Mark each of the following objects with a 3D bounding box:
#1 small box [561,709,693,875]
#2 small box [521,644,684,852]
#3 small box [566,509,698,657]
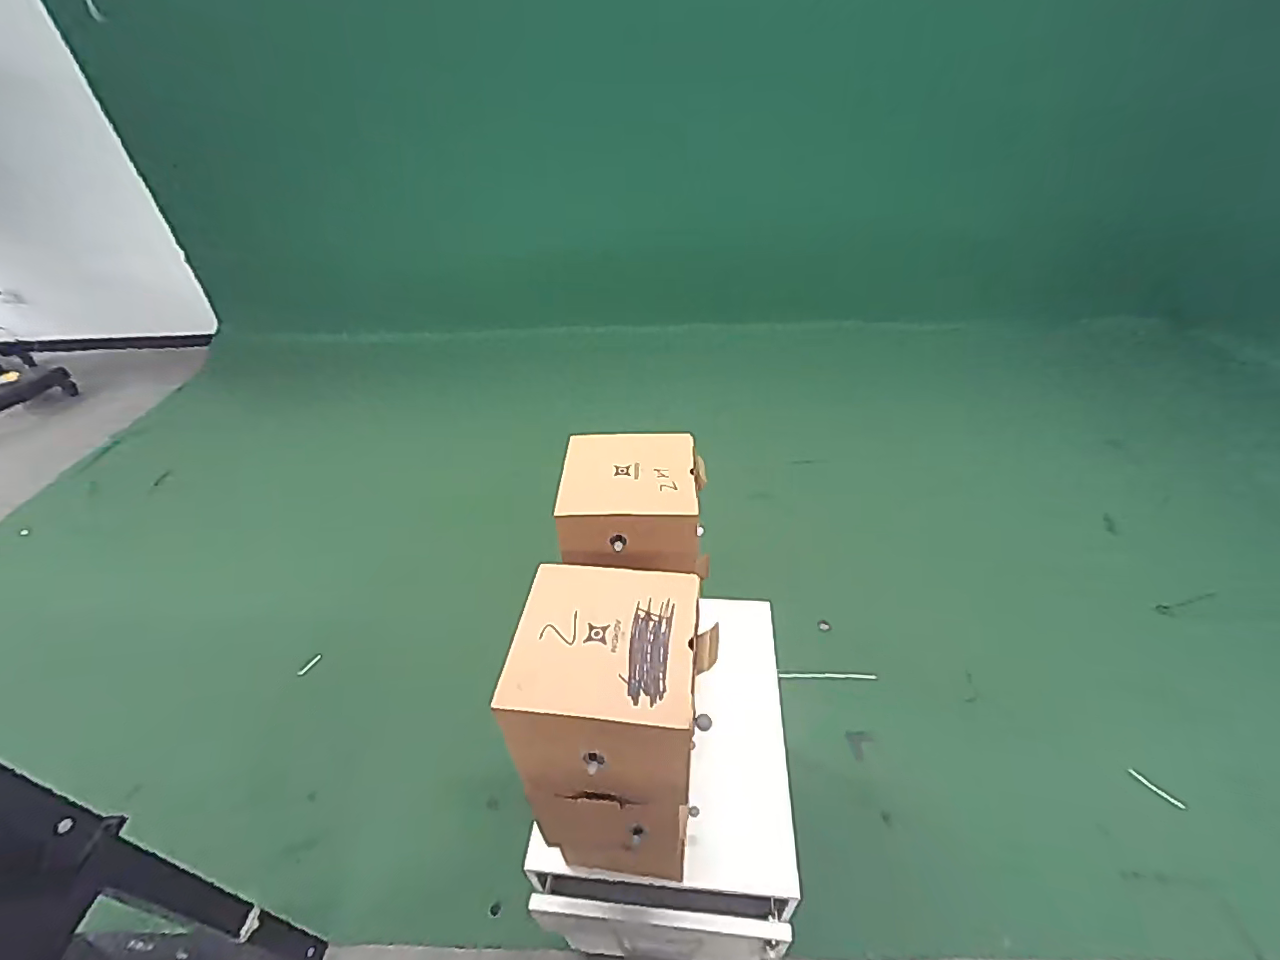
[{"bbox_3d":[-0.018,0.440,0.779,0.179,0.176,0.168,4,39,7],"label":"small box"},{"bbox_3d":[-0.032,0.328,0.663,0.168,0.176,0.179,2,39,5],"label":"small box"},{"bbox_3d":[-0.004,0.167,0.854,0.179,0.176,0.168,5,41,8],"label":"small box"}]
